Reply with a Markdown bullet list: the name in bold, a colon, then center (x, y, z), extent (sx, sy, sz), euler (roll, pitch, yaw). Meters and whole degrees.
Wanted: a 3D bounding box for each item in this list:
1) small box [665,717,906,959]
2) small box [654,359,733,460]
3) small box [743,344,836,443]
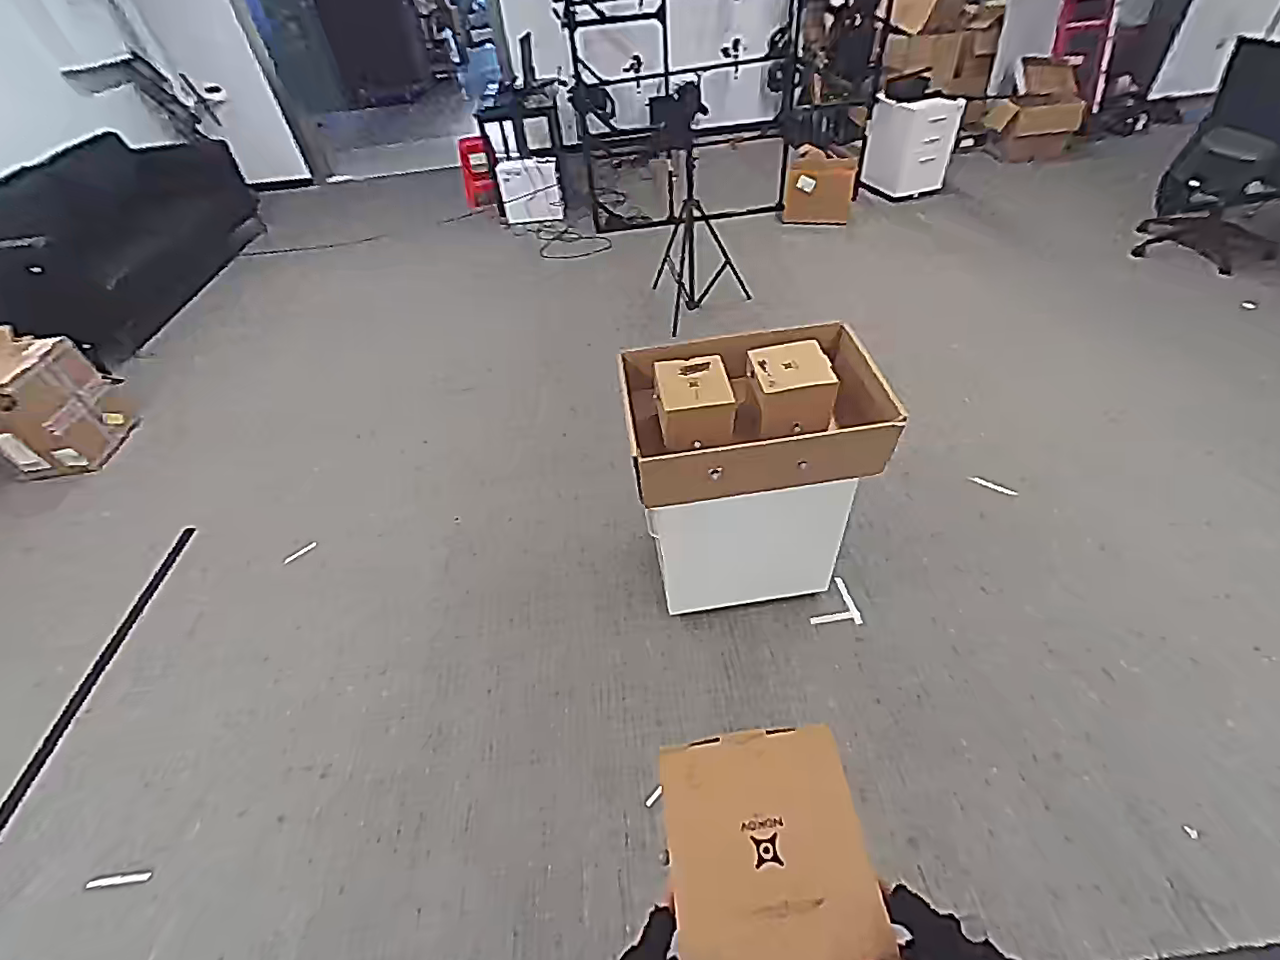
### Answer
- **small box**: center (0.120, 0.350, 0.519), extent (0.168, 0.176, 0.179), euler (-10, 52, 2)
- **small box**: center (0.126, -0.173, 1.340), extent (0.168, 0.176, 0.179), euler (-8, 51, -2)
- **small box**: center (0.364, -0.214, 1.353), extent (0.179, 0.176, 0.168), euler (-9, 49, 0)
